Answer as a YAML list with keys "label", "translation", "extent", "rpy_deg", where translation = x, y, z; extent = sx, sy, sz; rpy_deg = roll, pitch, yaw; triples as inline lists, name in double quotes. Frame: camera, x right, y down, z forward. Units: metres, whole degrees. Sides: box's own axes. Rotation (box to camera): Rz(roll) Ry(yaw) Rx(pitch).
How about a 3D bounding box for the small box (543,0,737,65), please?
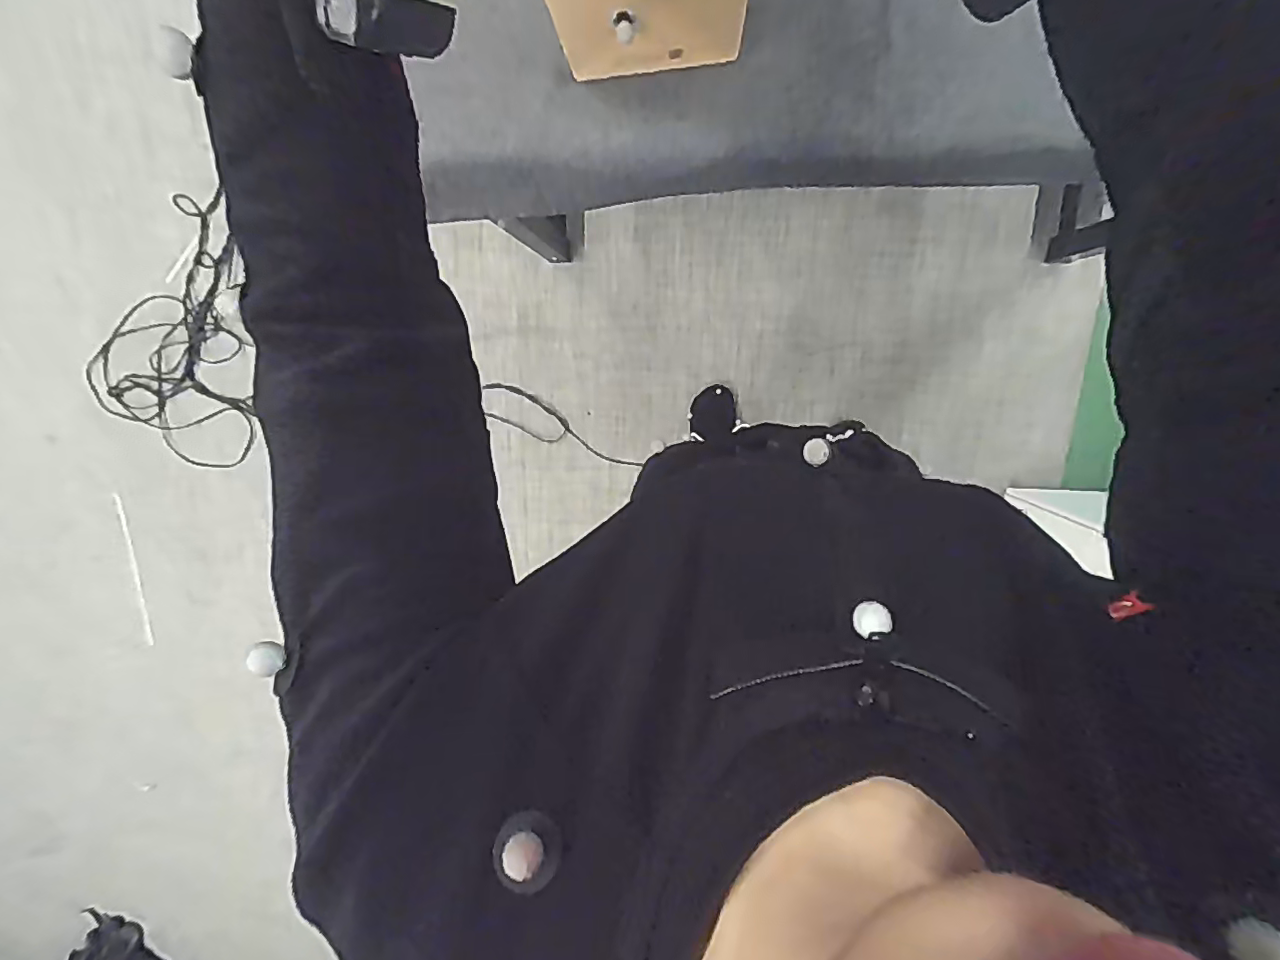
- label: "small box"
  translation: [-0.002, -0.483, 0.450]
  extent: [0.168, 0.176, 0.179]
  rpy_deg: [-3, 102, 5]
